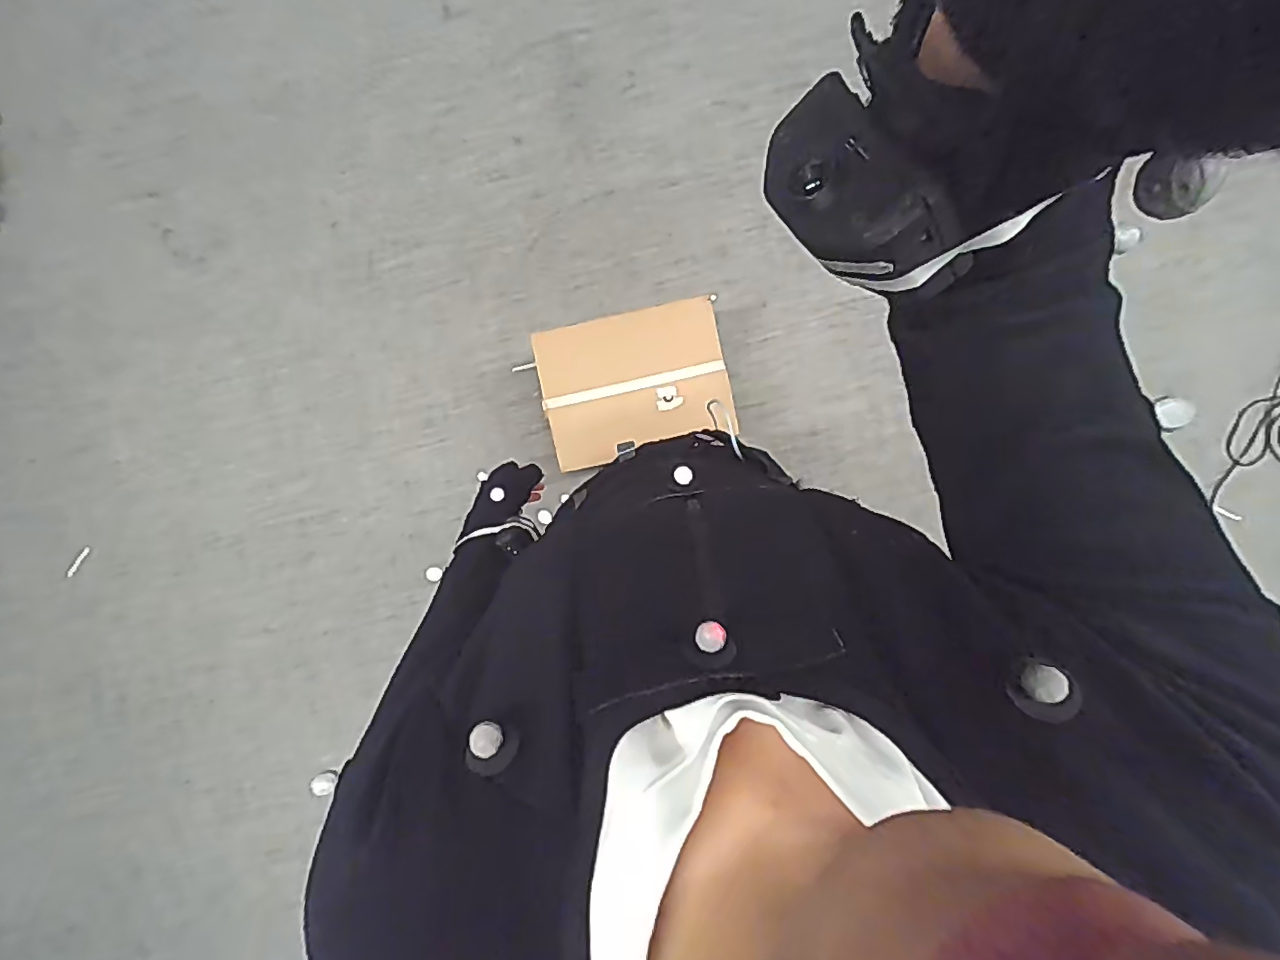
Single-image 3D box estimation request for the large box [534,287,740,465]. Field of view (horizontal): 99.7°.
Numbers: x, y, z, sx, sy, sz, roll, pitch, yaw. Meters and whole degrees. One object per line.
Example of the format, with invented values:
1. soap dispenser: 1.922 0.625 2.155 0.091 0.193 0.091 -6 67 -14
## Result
1. large box: -0.006 -0.230 1.325 0.408 0.320 0.320 -12 93 1
